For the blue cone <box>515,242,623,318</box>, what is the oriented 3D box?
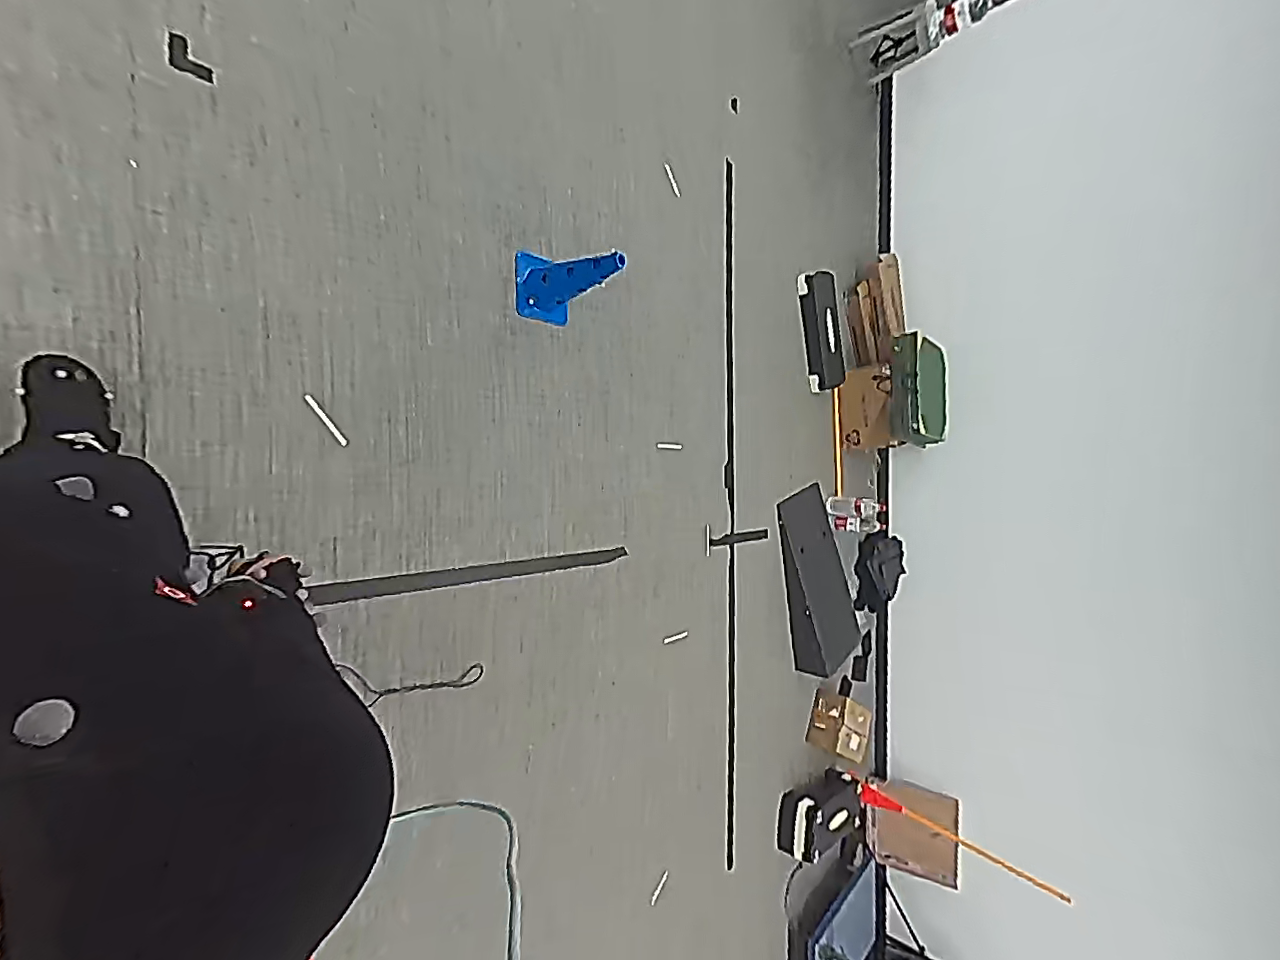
[{"bbox_3d":[-0.194,-0.619,1.597,0.193,0.380,0.192,0,89,-47],"label":"blue cone"}]
